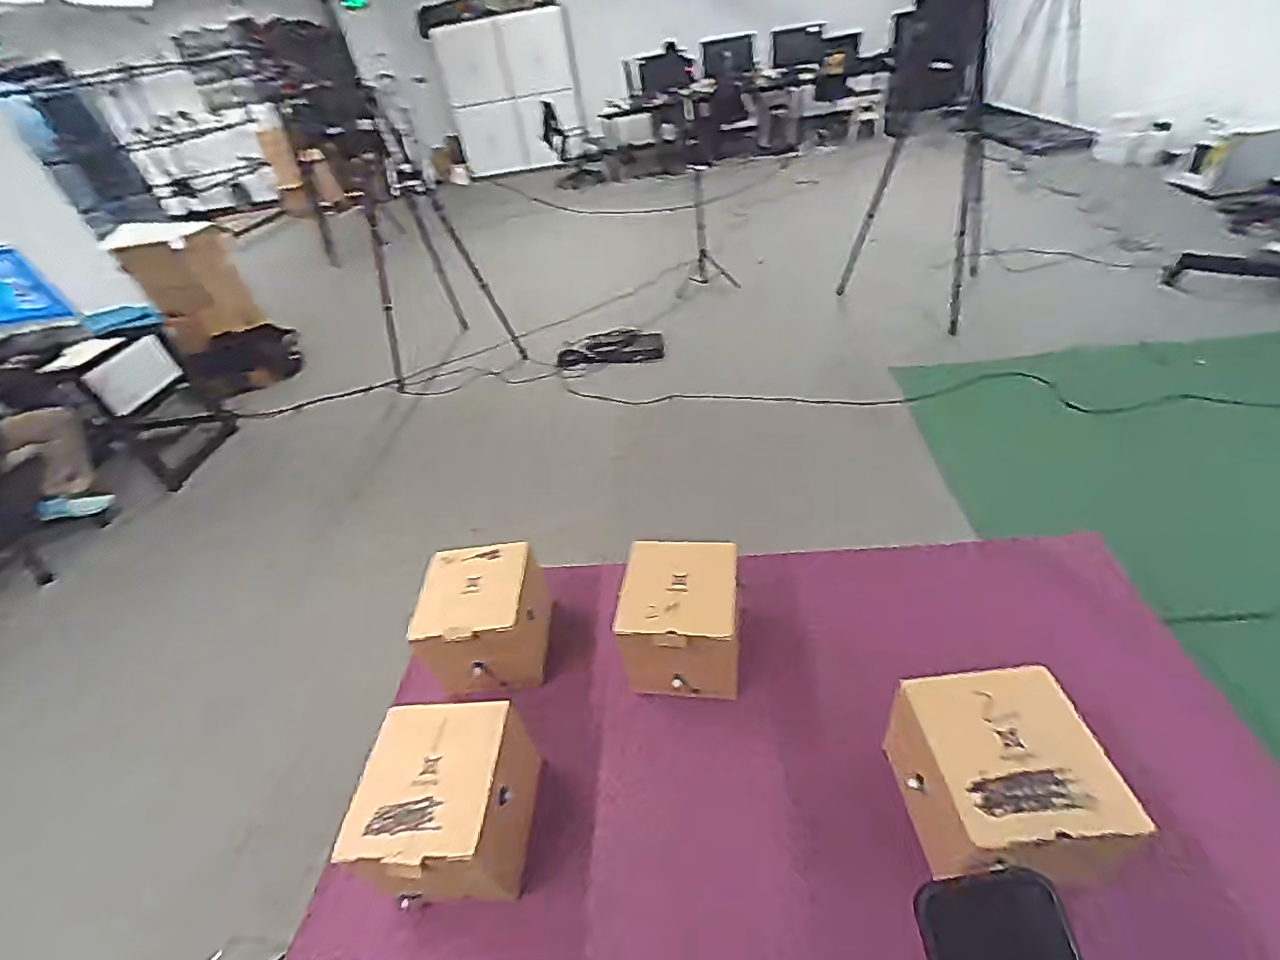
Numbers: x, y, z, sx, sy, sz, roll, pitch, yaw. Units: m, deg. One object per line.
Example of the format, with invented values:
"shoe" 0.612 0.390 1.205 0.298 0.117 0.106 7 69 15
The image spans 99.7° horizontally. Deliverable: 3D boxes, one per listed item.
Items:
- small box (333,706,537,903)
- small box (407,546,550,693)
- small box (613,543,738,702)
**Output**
"small box" -0.240 0.416 0.690 0.168 0.176 0.179 -6 38 6
"small box" -0.256 0.239 0.905 0.168 0.176 0.179 -8 41 4
"small box" 0.066 0.220 0.849 0.168 0.176 0.179 -1 41 13
